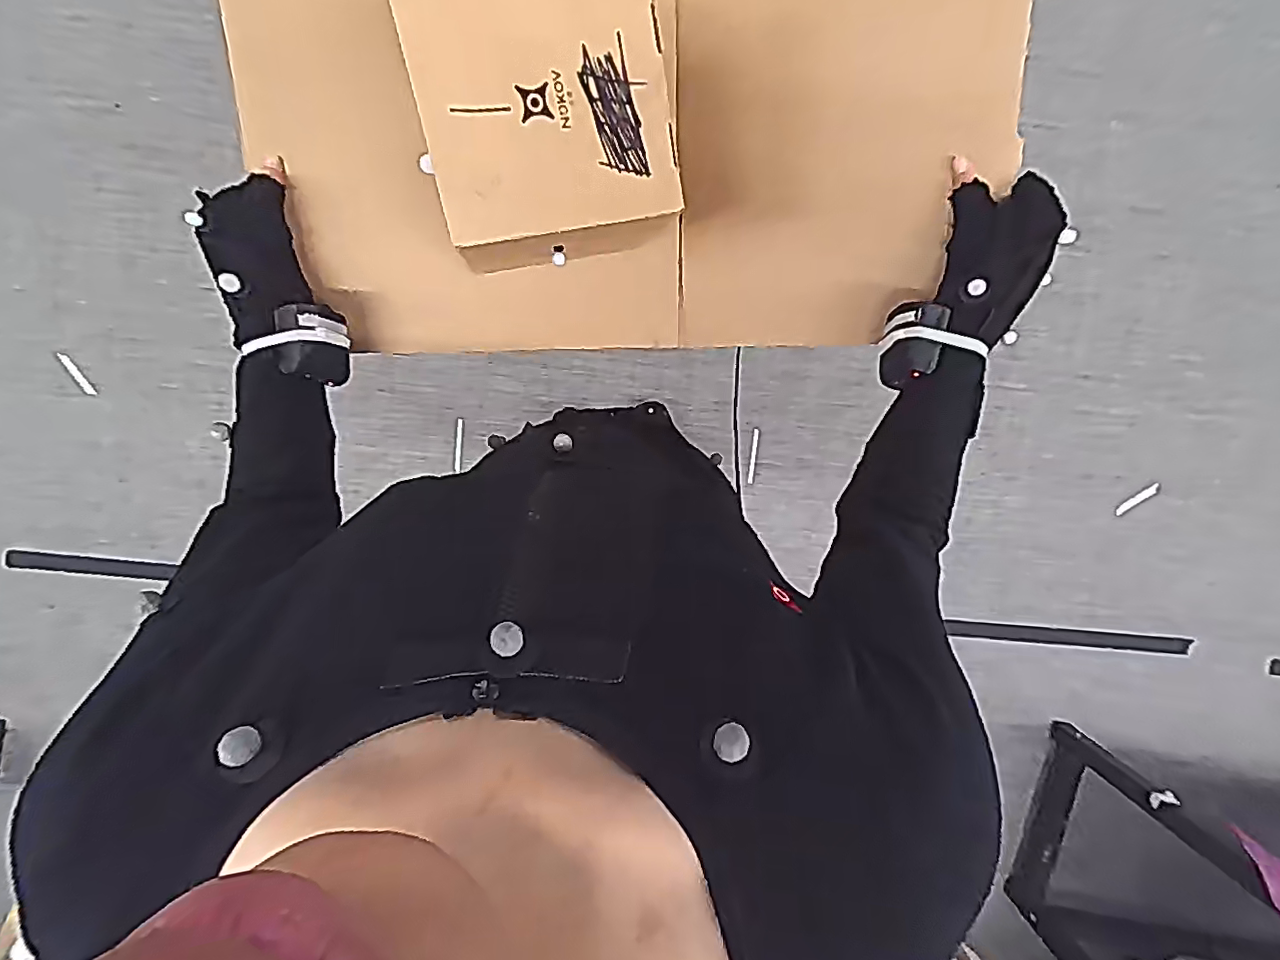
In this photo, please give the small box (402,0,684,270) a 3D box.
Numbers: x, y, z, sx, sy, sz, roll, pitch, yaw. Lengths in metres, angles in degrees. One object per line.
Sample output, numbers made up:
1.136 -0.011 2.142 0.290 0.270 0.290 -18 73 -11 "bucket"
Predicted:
-0.078 -0.285 0.461 0.179 0.176 0.168 -13 106 -8 "small box"
